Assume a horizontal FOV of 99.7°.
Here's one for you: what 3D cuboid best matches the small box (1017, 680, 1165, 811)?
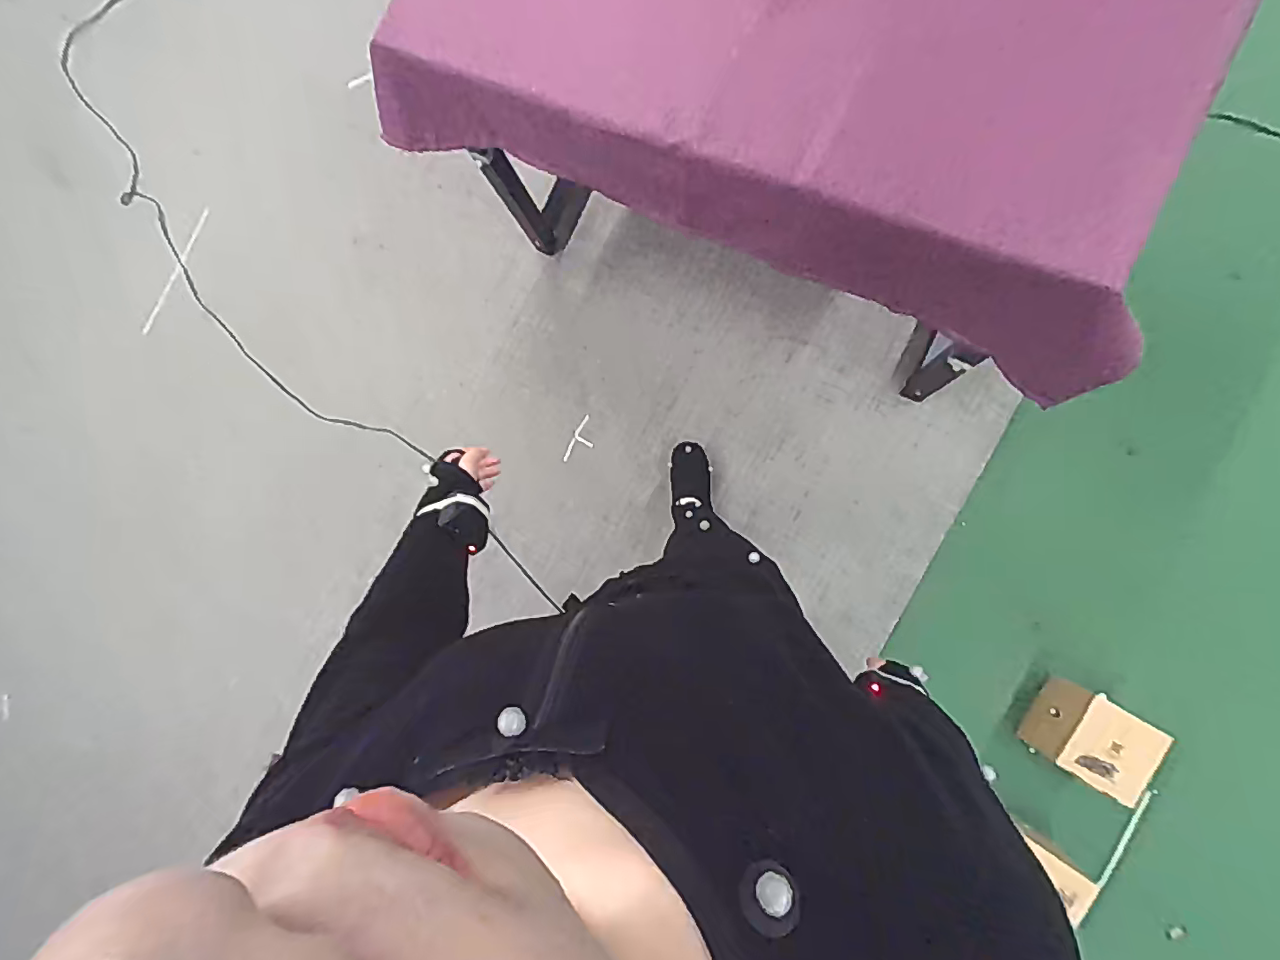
[{"bbox_3d":[1.002,0.589,1.223,0.168,0.176,0.179,31,89,10],"label":"small box"}]
